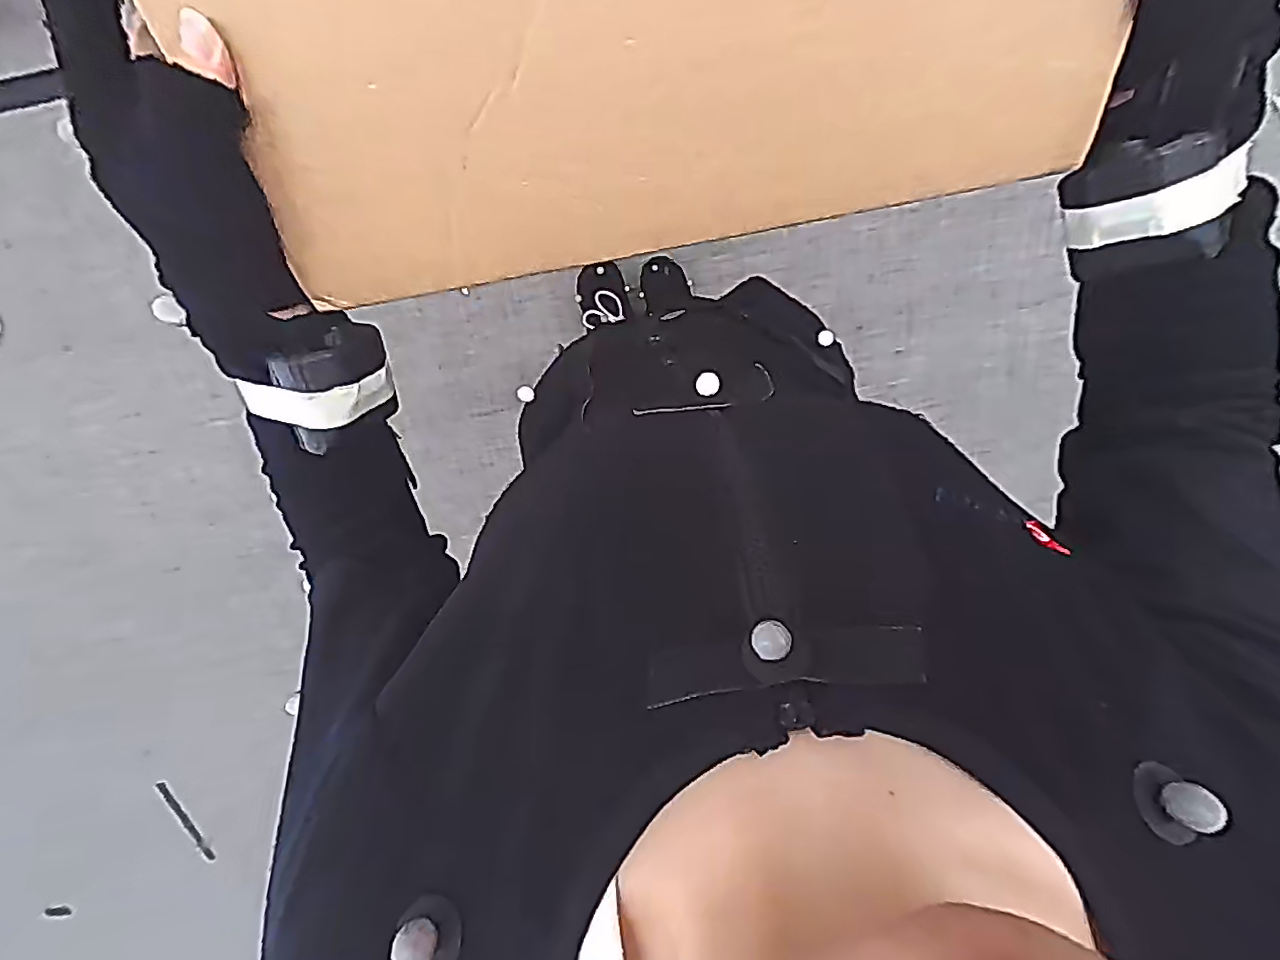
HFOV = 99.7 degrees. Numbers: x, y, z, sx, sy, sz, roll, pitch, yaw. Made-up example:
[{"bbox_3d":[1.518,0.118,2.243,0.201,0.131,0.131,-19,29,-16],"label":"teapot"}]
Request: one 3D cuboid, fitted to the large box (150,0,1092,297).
[{"bbox_3d":[-0.016,-0.346,0.300,0.408,0.320,0.320,-10,131,1],"label":"large box"}]
